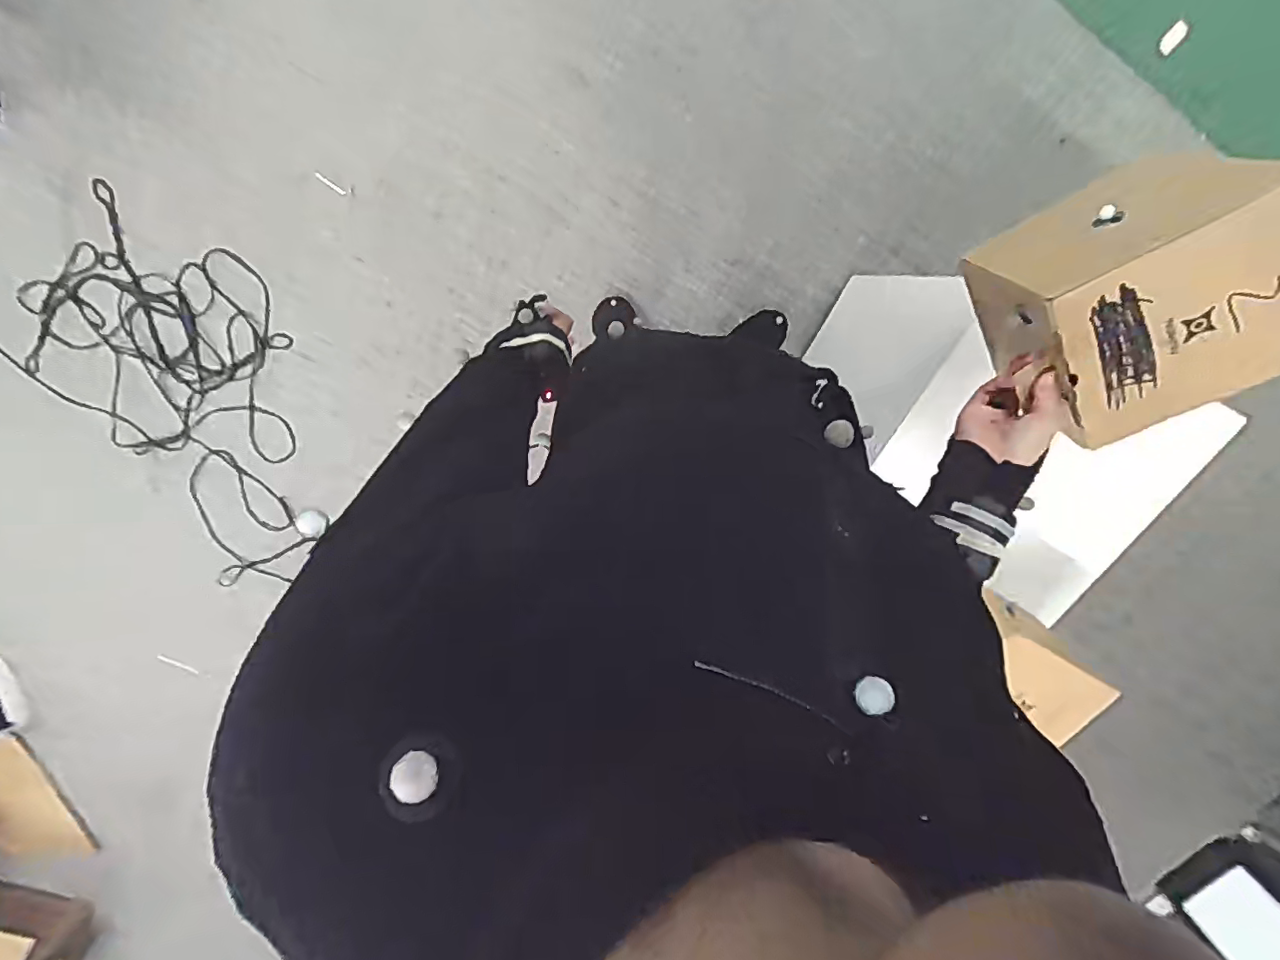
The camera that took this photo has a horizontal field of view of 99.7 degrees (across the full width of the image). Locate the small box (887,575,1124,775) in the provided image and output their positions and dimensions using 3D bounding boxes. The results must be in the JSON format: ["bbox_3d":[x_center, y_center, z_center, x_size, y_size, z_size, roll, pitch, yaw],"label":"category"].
[{"bbox_3d":[0.486,0.258,0.753,0.179,0.176,0.168,29,109,-9],"label":"small box"}]
